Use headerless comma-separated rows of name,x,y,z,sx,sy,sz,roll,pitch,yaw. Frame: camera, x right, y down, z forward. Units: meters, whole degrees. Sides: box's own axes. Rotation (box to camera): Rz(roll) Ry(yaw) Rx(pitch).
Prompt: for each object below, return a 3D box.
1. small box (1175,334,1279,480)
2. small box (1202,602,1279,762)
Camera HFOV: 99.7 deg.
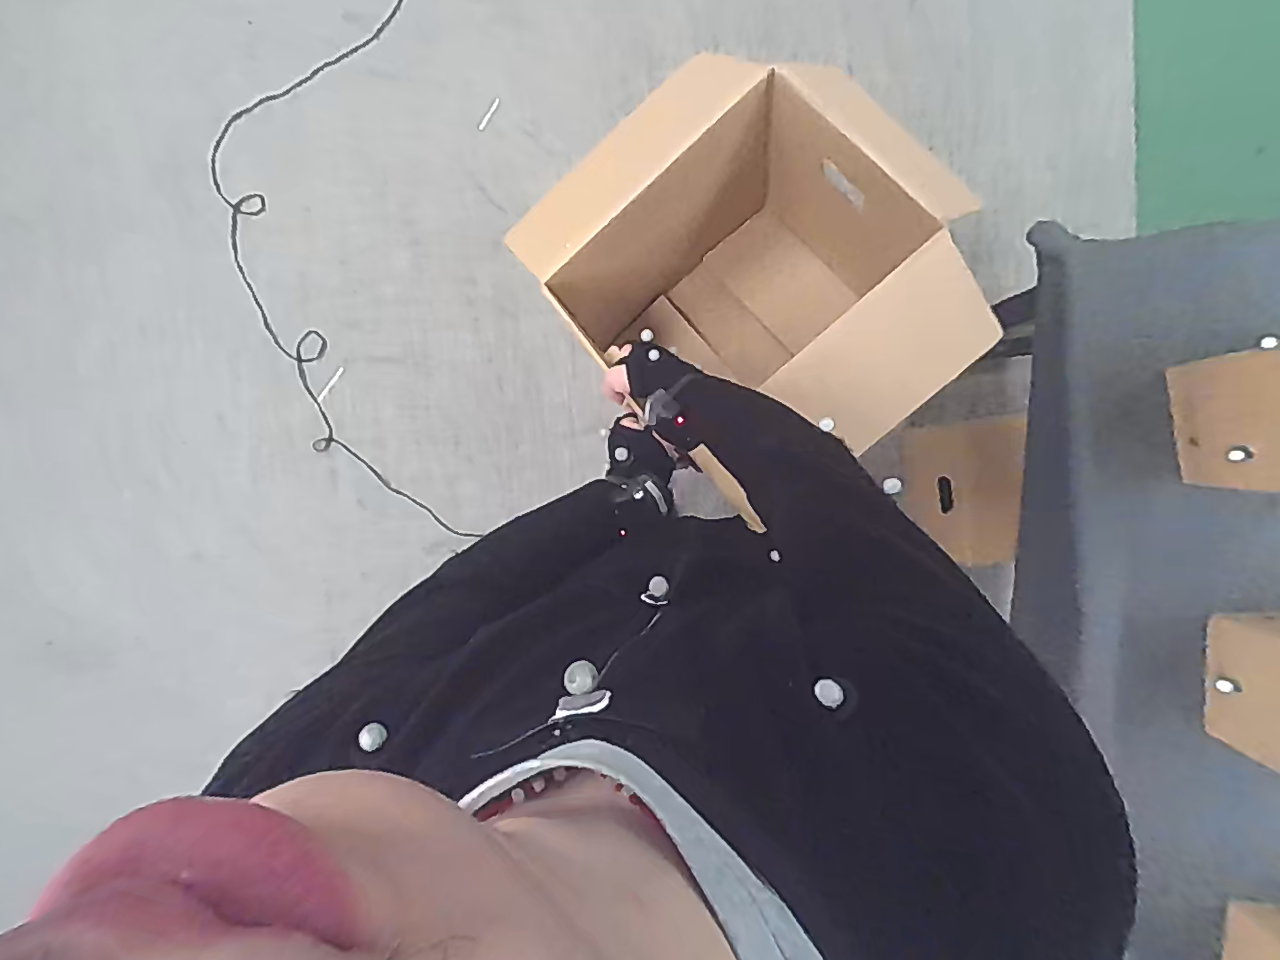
small box,0.813,-0.096,0.660,0.179,0.176,0.168,-13,96,3
small box,0.878,0.267,0.686,0.168,0.176,0.179,-2,95,4
